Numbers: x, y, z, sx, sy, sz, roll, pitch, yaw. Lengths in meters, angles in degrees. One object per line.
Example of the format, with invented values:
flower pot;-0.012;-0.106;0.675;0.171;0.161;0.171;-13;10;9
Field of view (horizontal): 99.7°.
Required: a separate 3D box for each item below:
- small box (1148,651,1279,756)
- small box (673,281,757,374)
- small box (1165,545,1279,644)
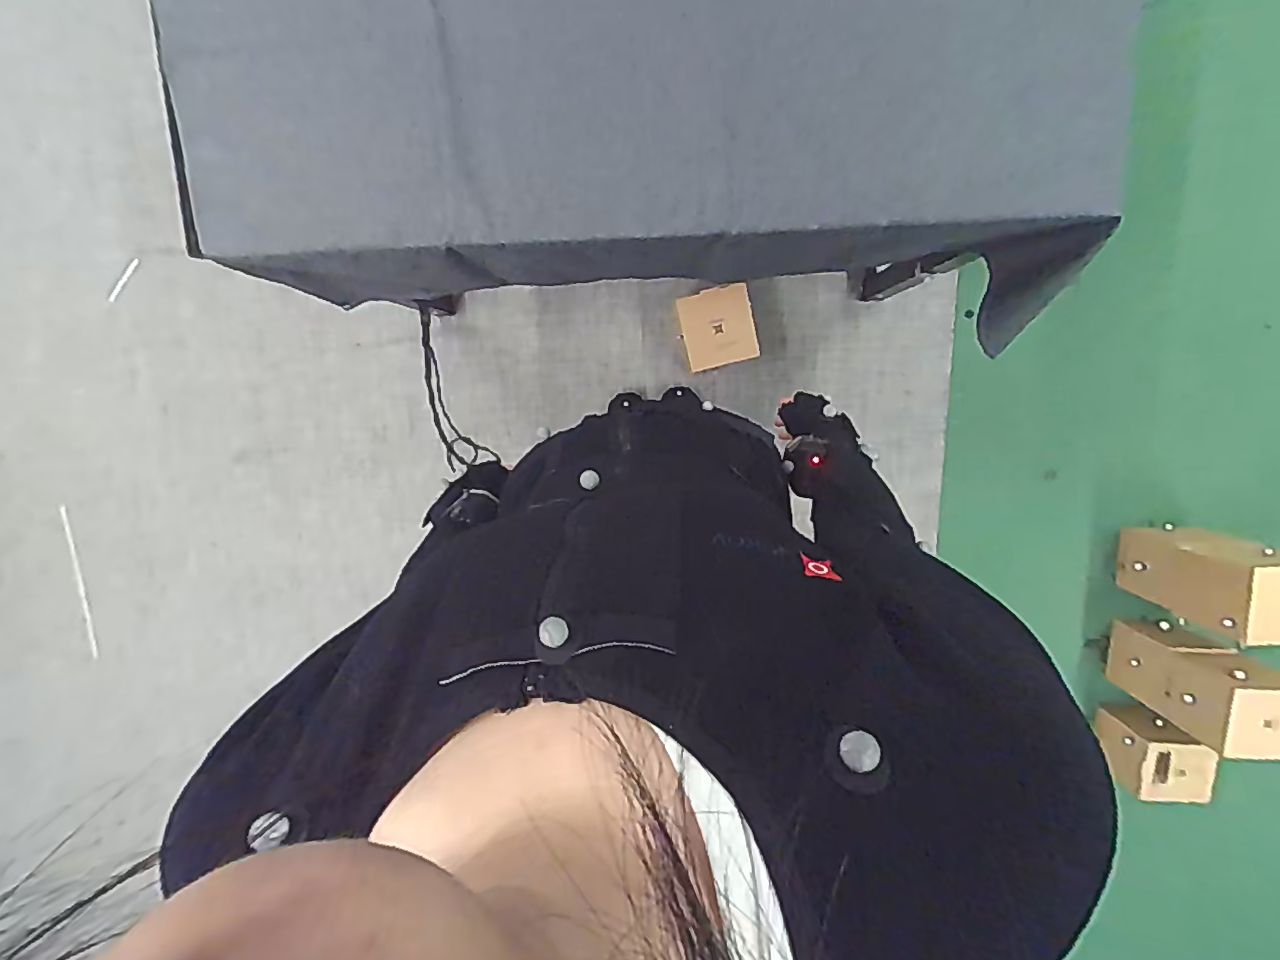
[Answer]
small box;1.351;0.513;1.260;0.179;0.176;0.168;0;101;3
small box;0.178;-0.367;1.332;0.168;0.176;0.179;-13;98;5
small box;1.344;0.249;1.216;0.168;0.176;0.179;-3;100;3
